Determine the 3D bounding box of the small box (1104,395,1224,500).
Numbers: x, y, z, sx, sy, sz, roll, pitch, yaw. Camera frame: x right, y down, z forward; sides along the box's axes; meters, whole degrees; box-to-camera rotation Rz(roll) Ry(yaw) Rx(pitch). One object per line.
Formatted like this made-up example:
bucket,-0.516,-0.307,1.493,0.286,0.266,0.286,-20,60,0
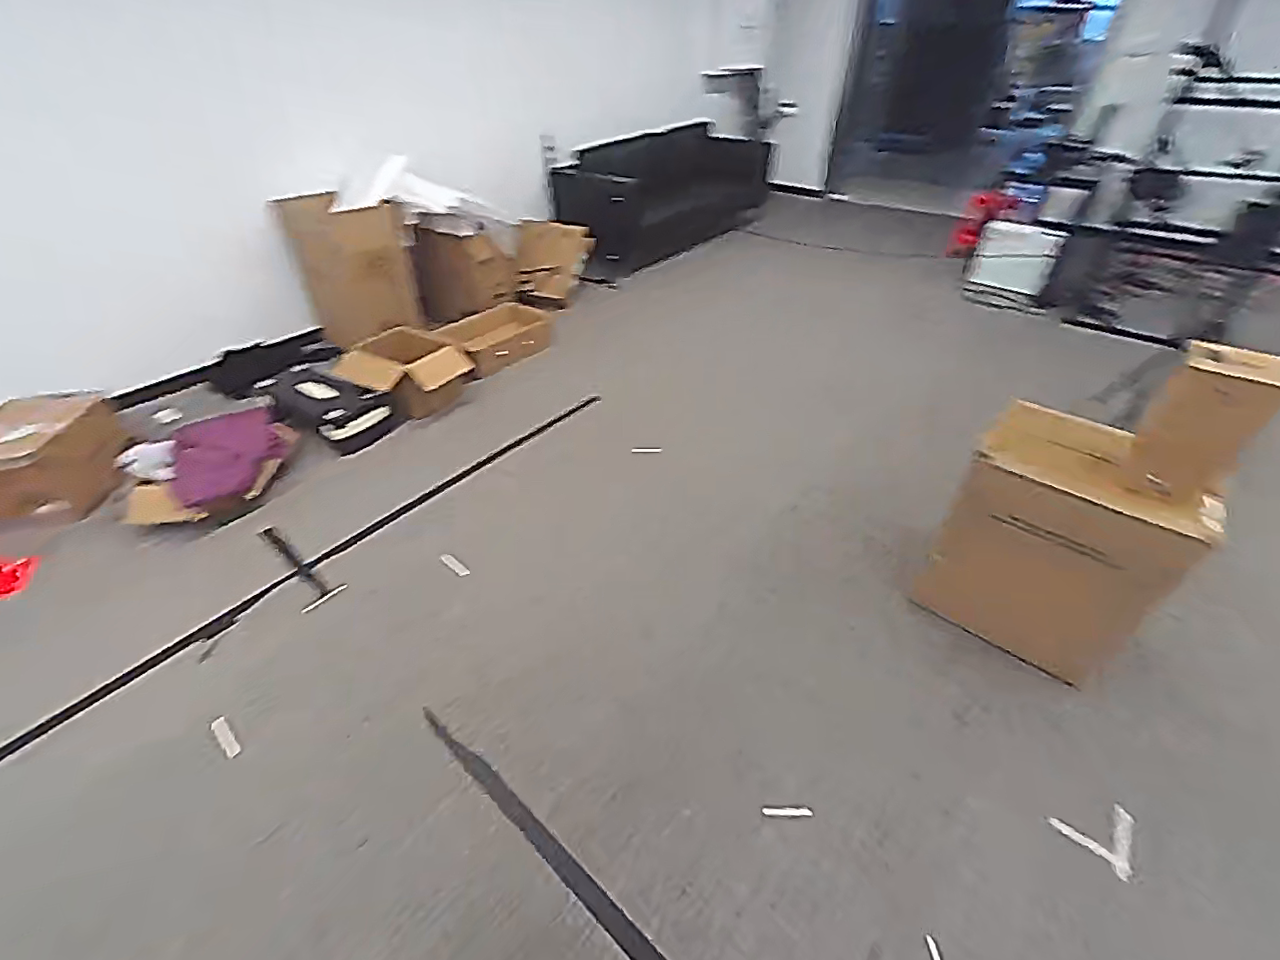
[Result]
small box,1.303,-0.083,1.348,0.168,0.176,0.179,26,48,32

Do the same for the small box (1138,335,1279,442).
small box,1.297,-0.209,1.242,0.179,0.176,0.168,27,48,32
